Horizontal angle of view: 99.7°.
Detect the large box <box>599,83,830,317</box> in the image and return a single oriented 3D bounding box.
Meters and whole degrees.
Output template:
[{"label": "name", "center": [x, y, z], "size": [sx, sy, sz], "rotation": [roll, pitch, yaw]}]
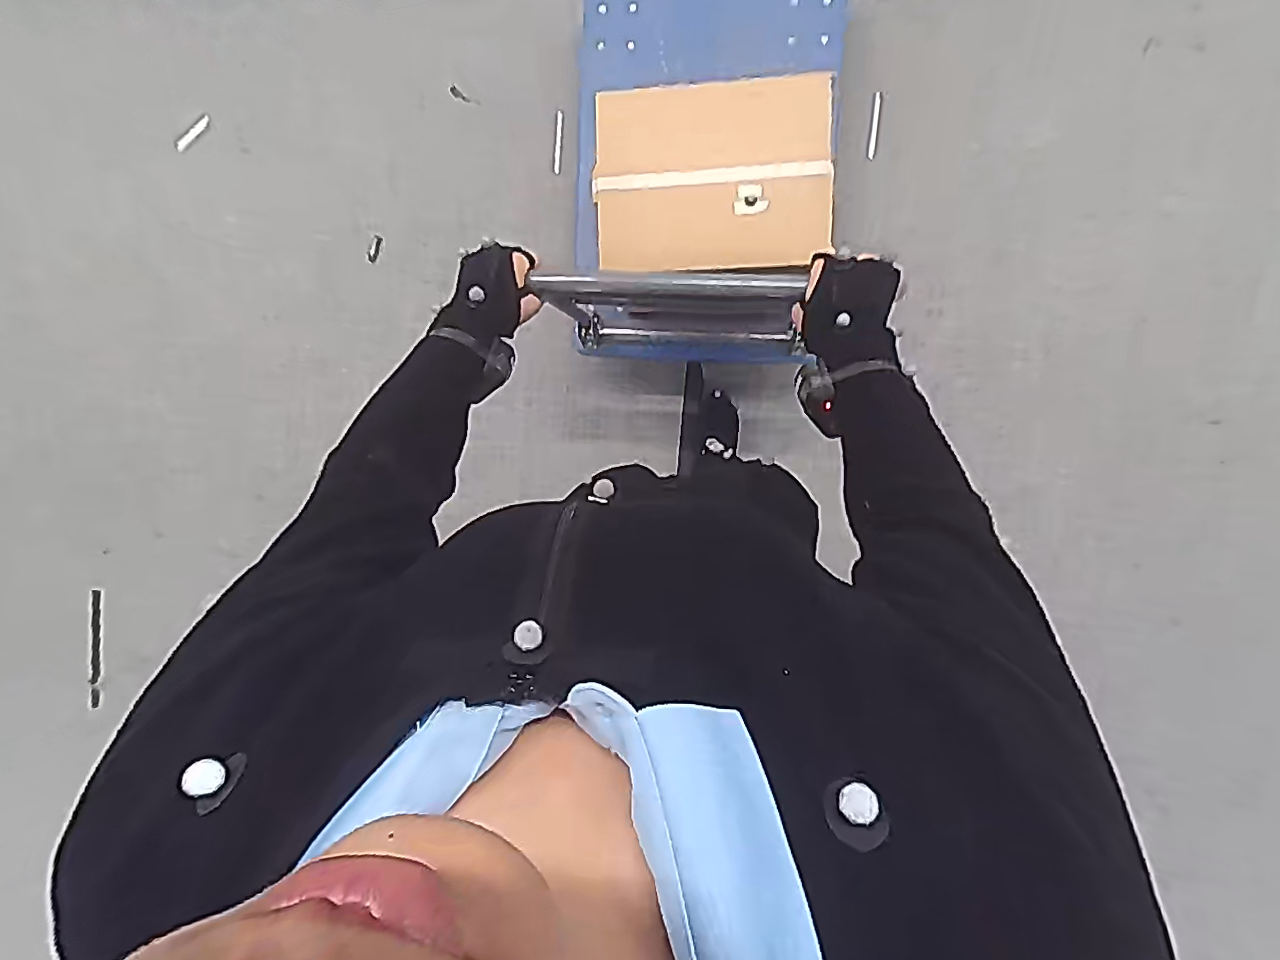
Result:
[{"label": "large box", "center": [0.140, -0.529, 1.096], "size": [0.408, 0.320, 0.320], "rotation": [-1, 95, 5]}]
